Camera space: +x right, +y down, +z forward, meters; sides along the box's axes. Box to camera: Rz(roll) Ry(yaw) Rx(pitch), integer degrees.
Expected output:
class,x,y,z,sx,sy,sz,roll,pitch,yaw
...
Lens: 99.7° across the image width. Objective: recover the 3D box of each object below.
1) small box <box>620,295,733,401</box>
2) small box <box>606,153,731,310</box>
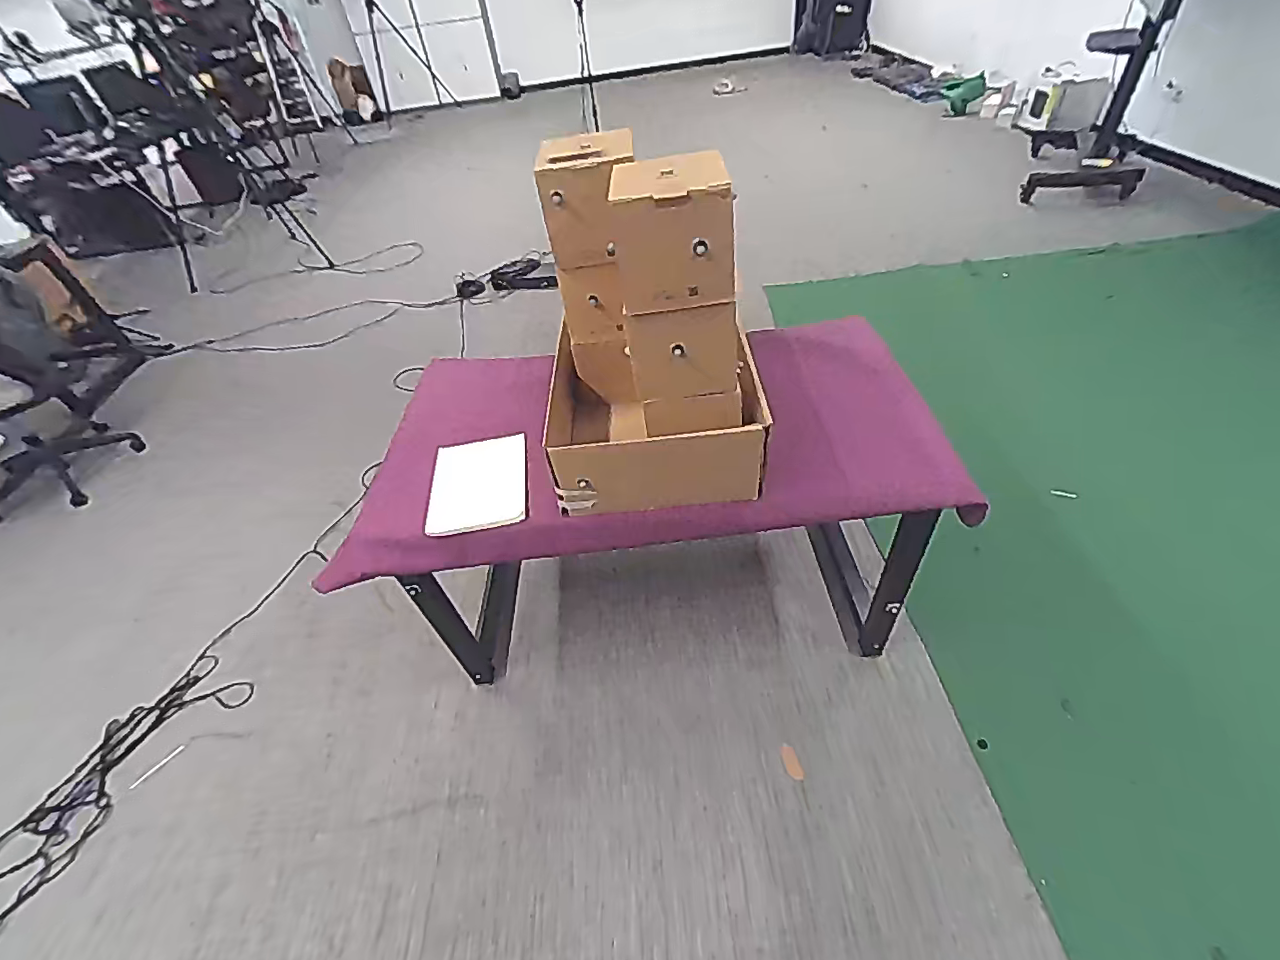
class,x,y,z,sx,sy,sz,roll,pitch,yaw
small box,0.067,-0.256,0.939,0.179,0.176,0.168,-6,43,7
small box,0.047,-0.372,0.826,0.168,0.176,0.179,-5,43,6
